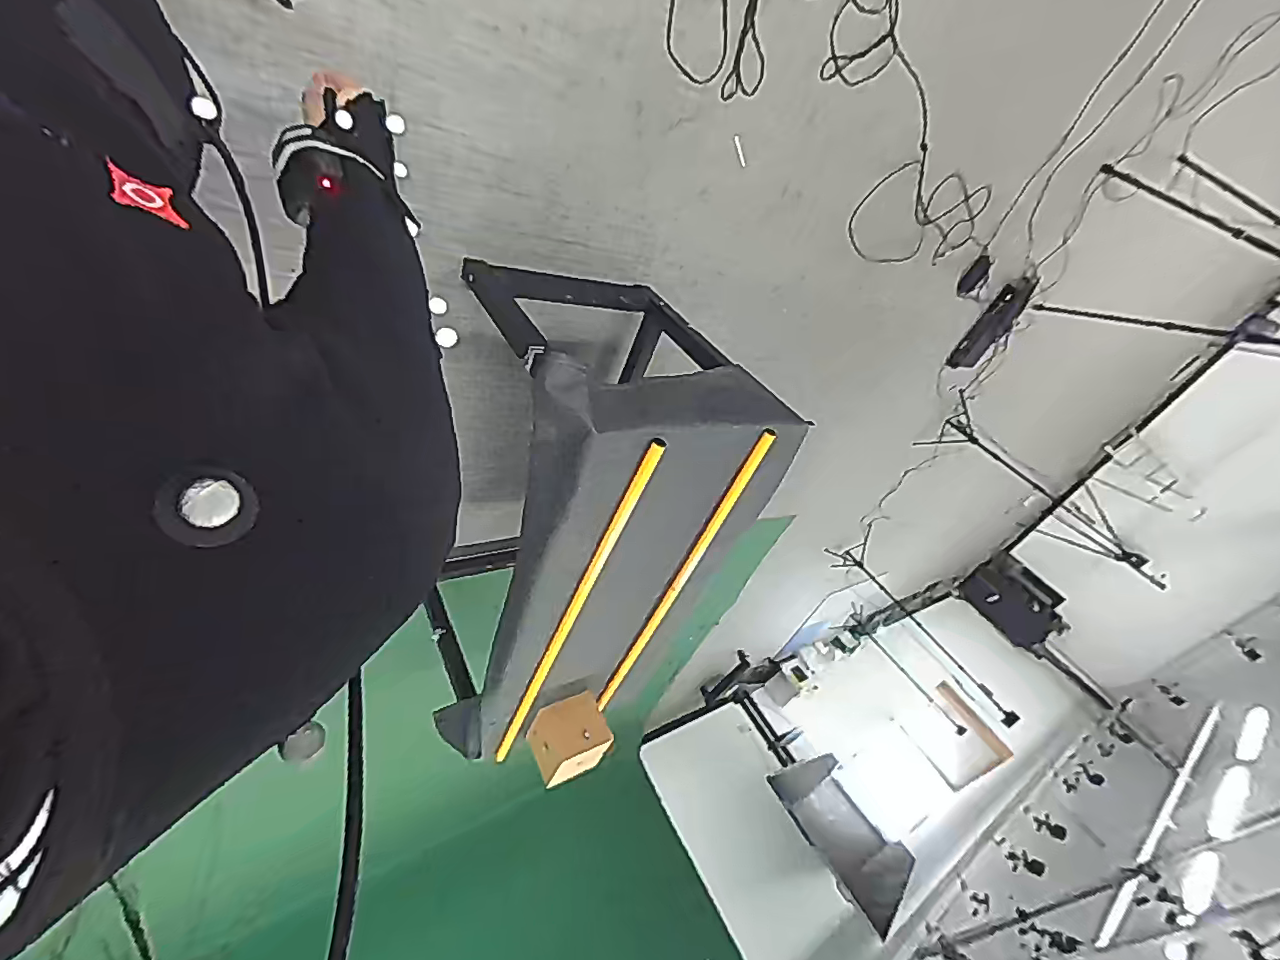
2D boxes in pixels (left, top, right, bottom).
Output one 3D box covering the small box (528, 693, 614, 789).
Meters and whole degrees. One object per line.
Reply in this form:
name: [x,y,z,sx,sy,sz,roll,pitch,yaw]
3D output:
small box: [-0.210,0.770,1.607,0.179,0.176,0.168,-6,134,-39]
